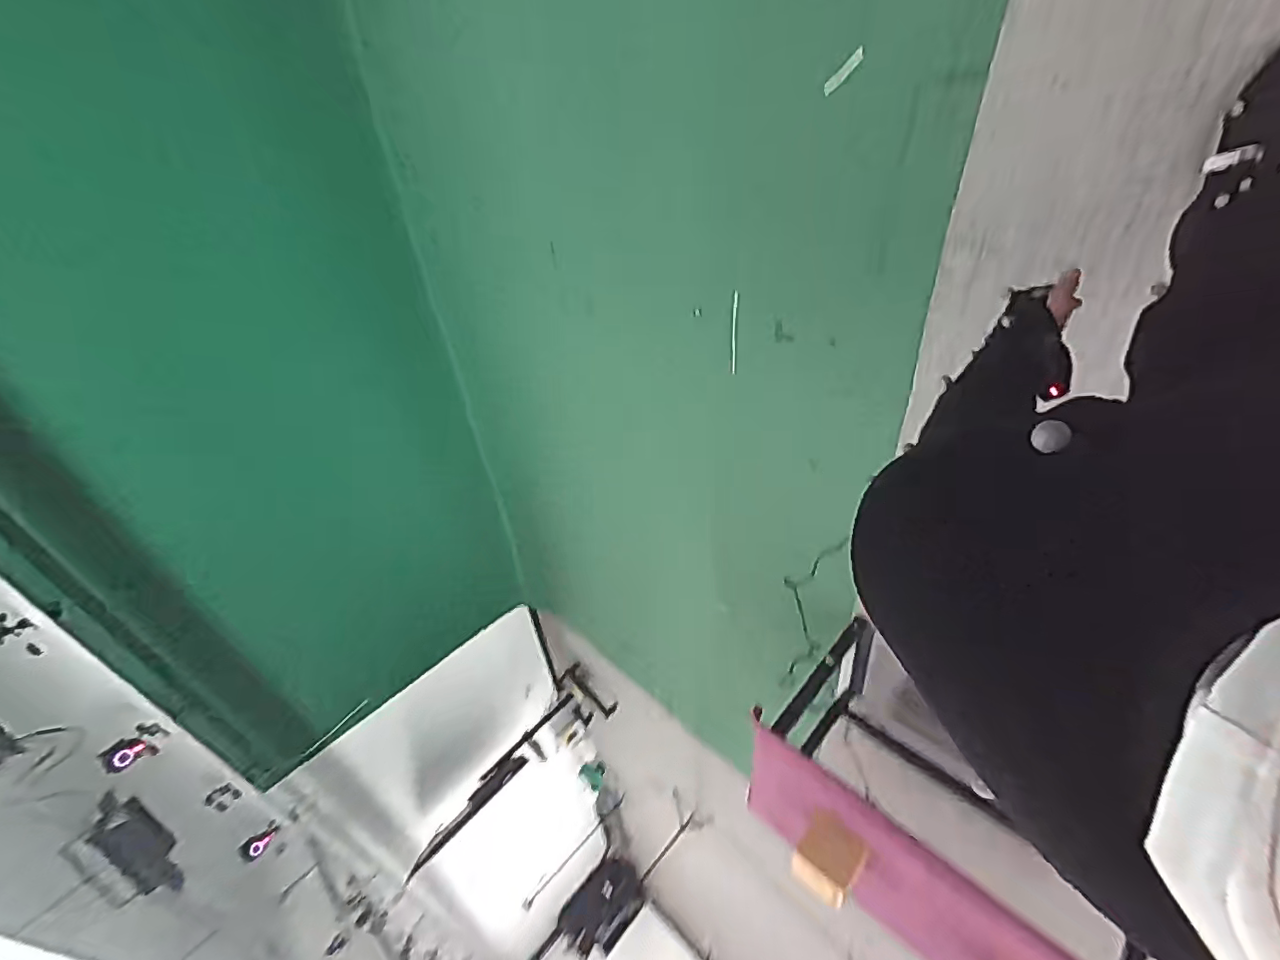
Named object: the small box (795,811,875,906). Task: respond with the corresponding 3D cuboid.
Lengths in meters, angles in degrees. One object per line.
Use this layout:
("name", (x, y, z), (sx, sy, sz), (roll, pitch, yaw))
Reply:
("small box", (0.633, 1.221, 1.761), (0.179, 0.176, 0.168), (27, 139, 38))
